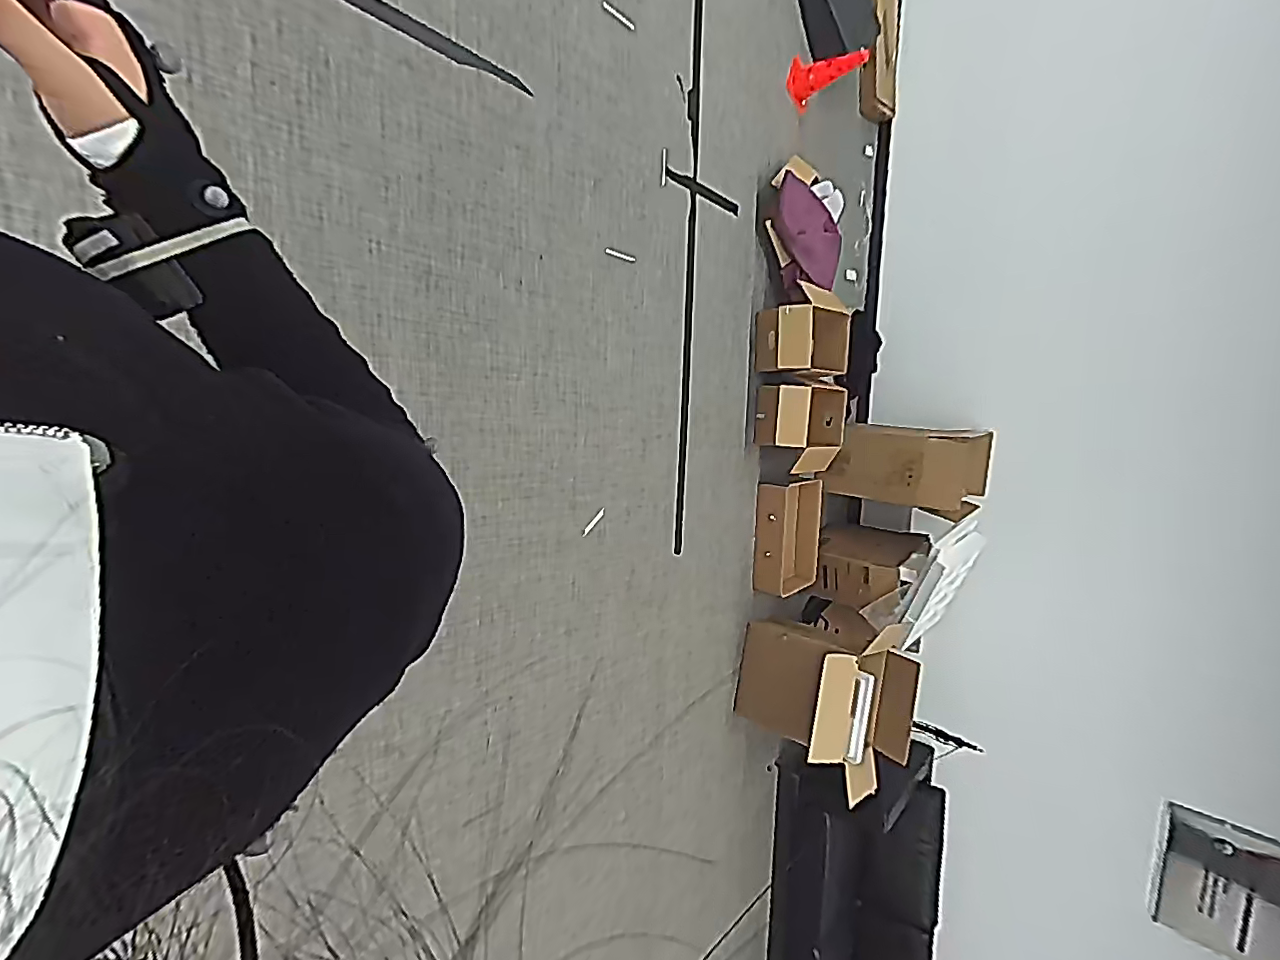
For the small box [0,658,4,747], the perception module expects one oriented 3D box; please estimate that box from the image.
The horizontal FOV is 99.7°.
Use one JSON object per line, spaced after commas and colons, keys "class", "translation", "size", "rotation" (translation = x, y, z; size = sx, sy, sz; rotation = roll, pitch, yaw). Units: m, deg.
{"class": "small box", "translation": [-1.127, 0.389, 0.844], "size": [0.168, 0.176, 0.179], "rotation": [0, 96, -47]}
